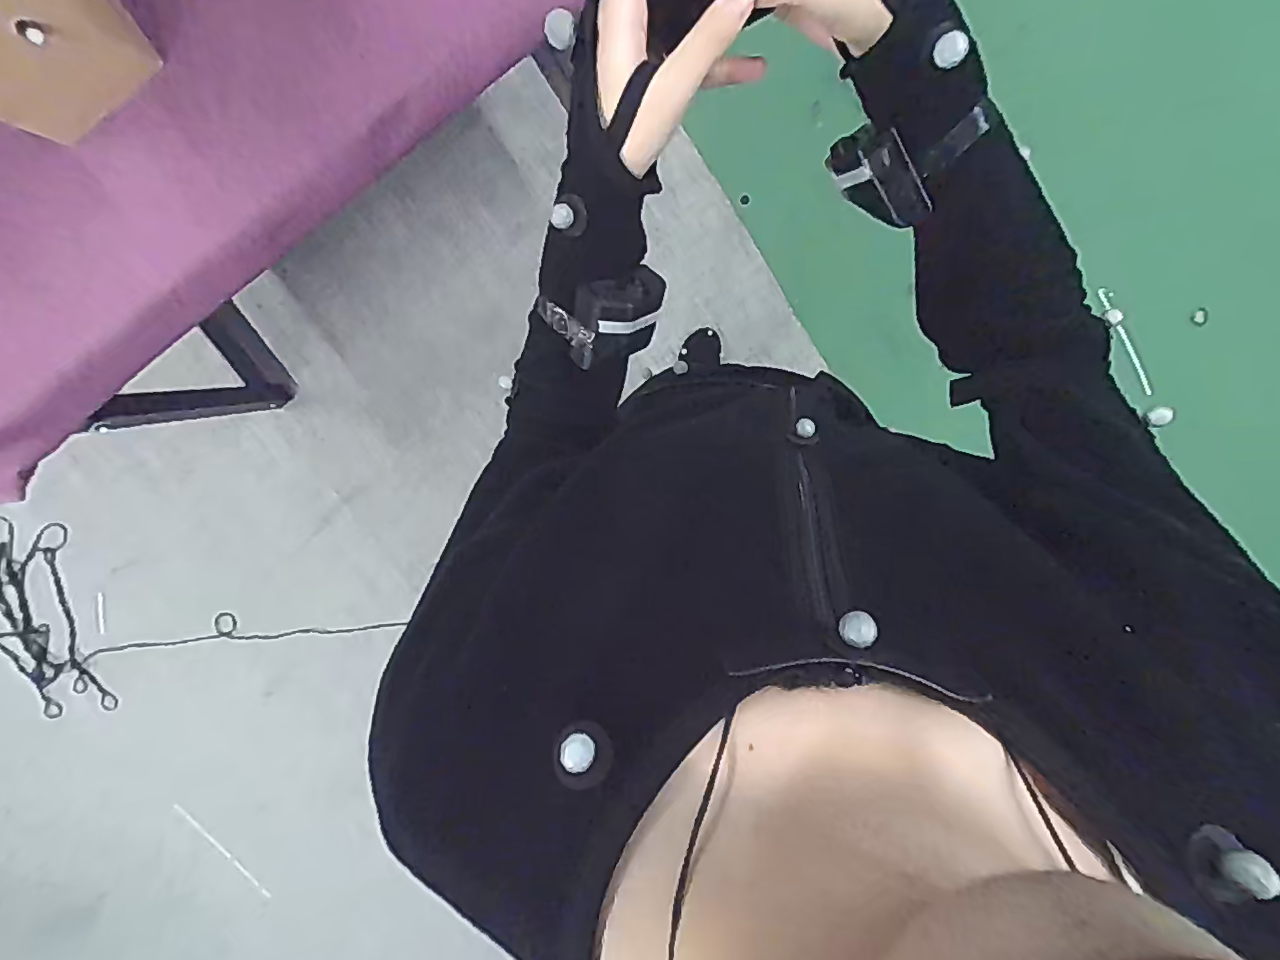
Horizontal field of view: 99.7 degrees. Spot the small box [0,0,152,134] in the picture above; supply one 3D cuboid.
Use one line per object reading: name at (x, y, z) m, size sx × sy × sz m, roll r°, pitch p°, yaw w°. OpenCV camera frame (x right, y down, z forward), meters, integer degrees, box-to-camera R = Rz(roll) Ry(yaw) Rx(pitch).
small box at (-0.710, -0.538, 0.602) m, size 0.179 × 0.176 × 0.168 m, roll -31°, pitch 99°, yaw 8°
